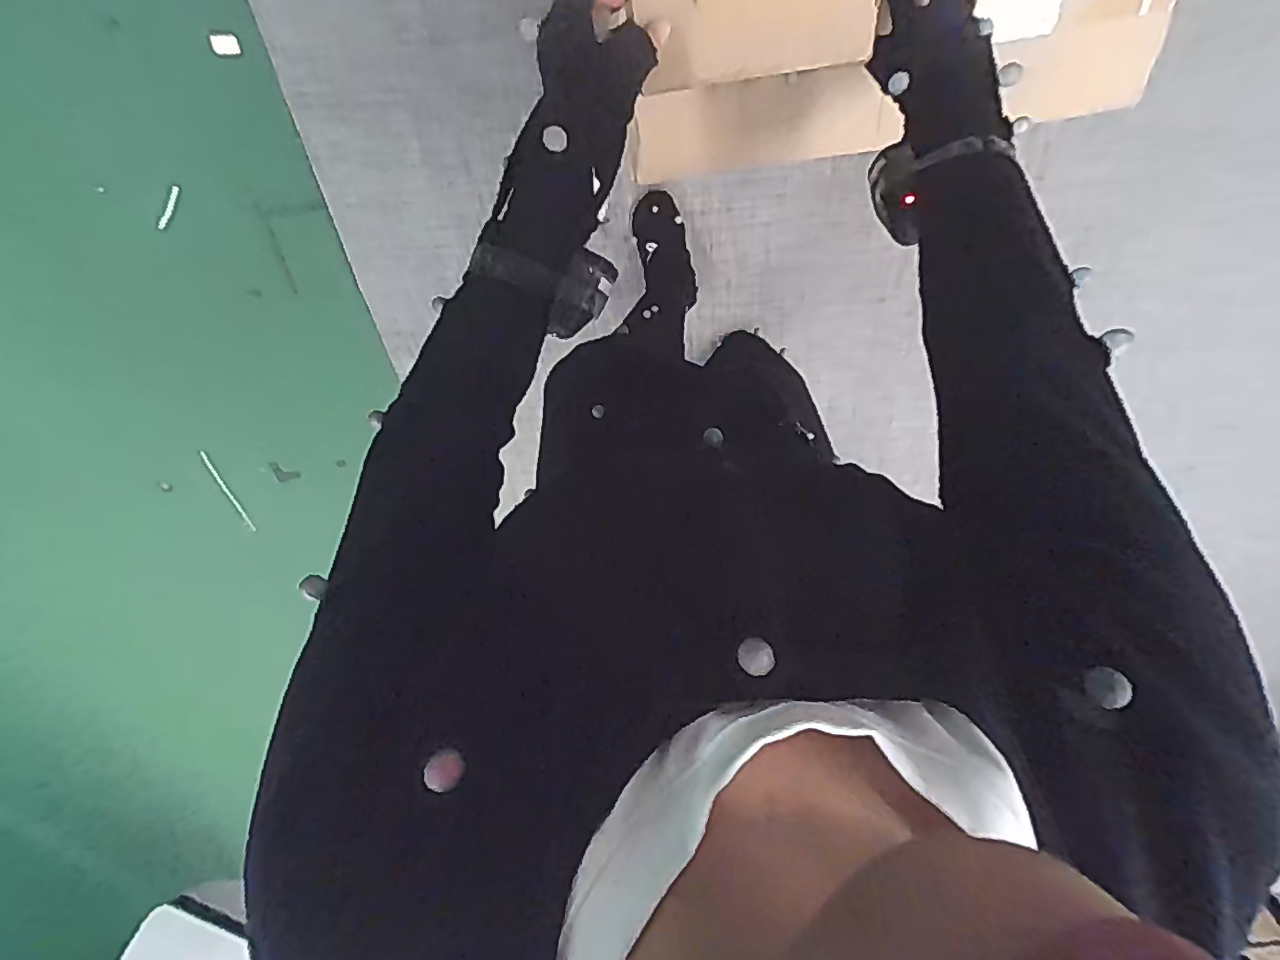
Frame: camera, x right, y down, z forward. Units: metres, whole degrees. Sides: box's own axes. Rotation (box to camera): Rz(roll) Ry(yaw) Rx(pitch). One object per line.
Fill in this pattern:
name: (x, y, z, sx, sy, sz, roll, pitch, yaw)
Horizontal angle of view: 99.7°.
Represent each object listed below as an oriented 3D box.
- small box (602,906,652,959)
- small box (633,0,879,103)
small box: (-0.046, 1.628, 1.911, 0.168, 0.176, 0.179, -4, 129, 2)
small box: (0.080, -0.417, 0.426, 0.179, 0.176, 0.168, -6, 129, 5)
